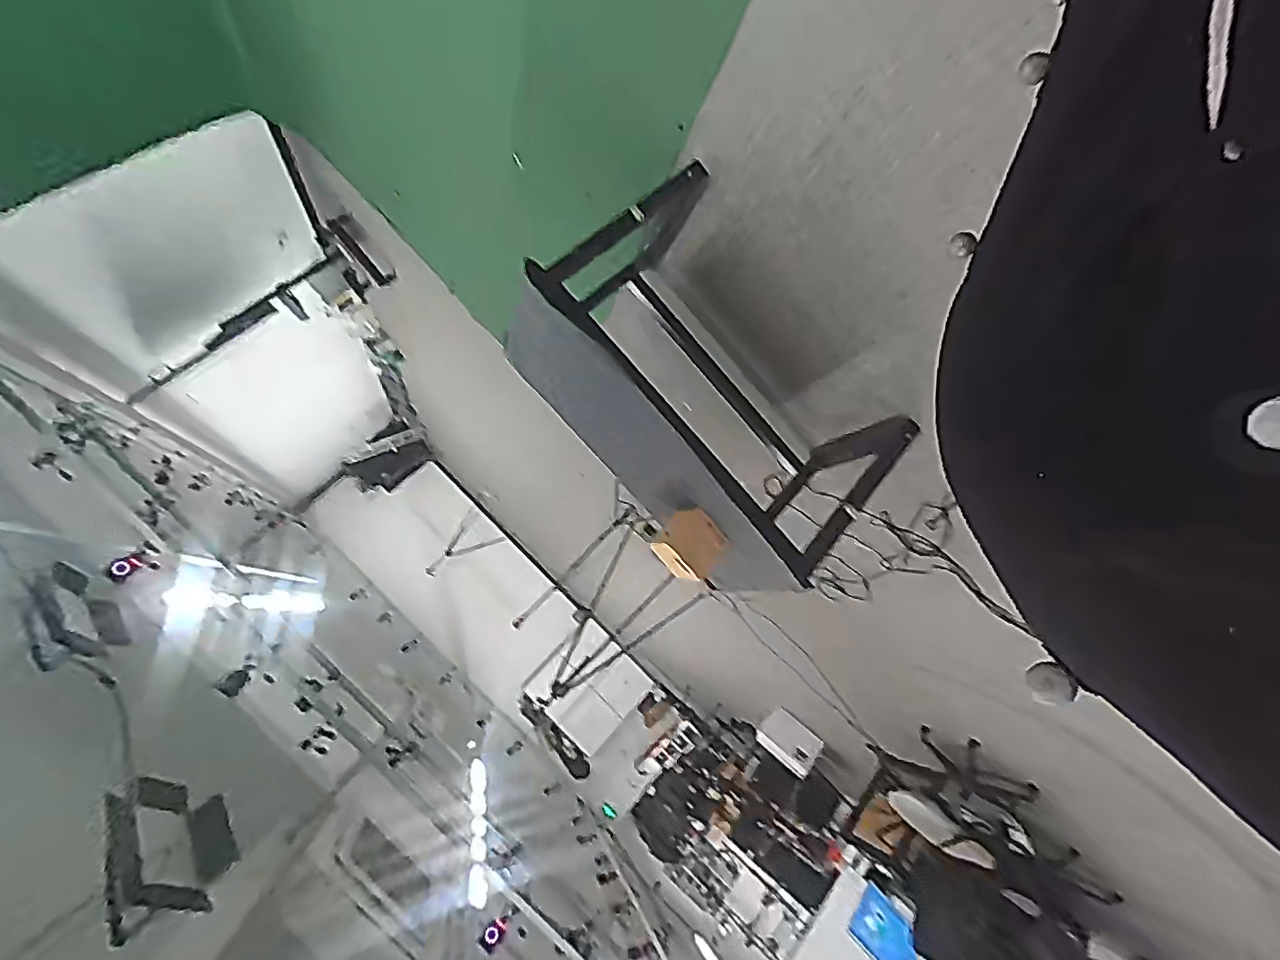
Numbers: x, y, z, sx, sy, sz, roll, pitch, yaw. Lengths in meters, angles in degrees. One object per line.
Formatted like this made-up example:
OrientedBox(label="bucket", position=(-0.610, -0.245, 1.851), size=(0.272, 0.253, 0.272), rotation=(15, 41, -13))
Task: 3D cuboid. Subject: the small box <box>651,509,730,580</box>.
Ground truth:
OrientedBox(label="small box", position=(0.172, 0.211, 1.784), size=(0.168, 0.176, 0.179), rotation=(49, 160, -9))
